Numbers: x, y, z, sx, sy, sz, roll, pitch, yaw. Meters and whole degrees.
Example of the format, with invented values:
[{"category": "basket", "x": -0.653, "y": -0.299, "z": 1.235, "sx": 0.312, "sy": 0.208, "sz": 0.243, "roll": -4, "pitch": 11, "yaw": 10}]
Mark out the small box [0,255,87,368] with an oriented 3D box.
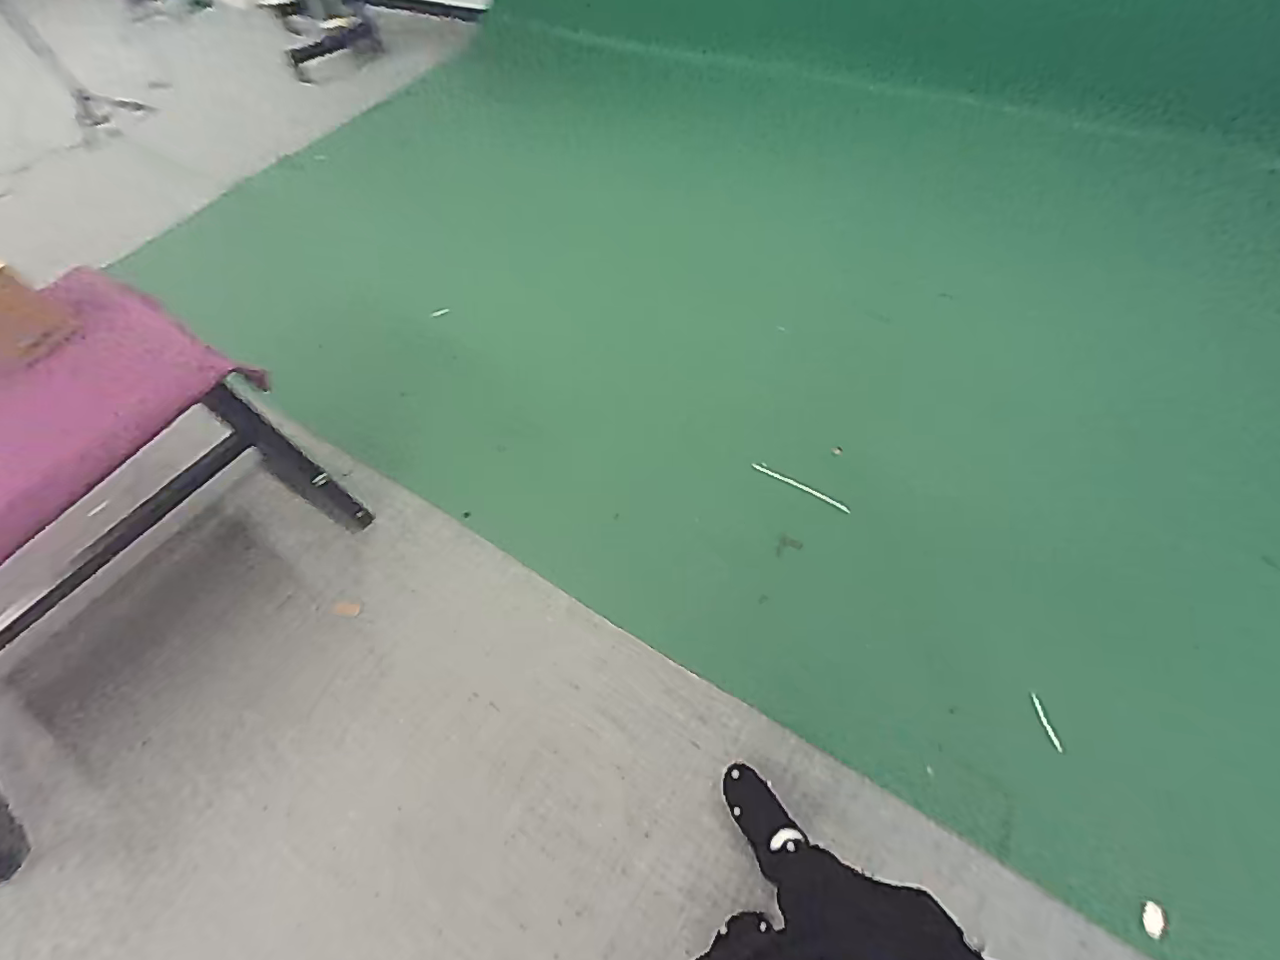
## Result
[{"category": "small box", "x": -1.361, "y": -0.366, "z": 1.145, "sx": 0.179, "sy": 0.176, "sz": 0.168, "roll": 25, "pitch": 65, "yaw": 17}]
